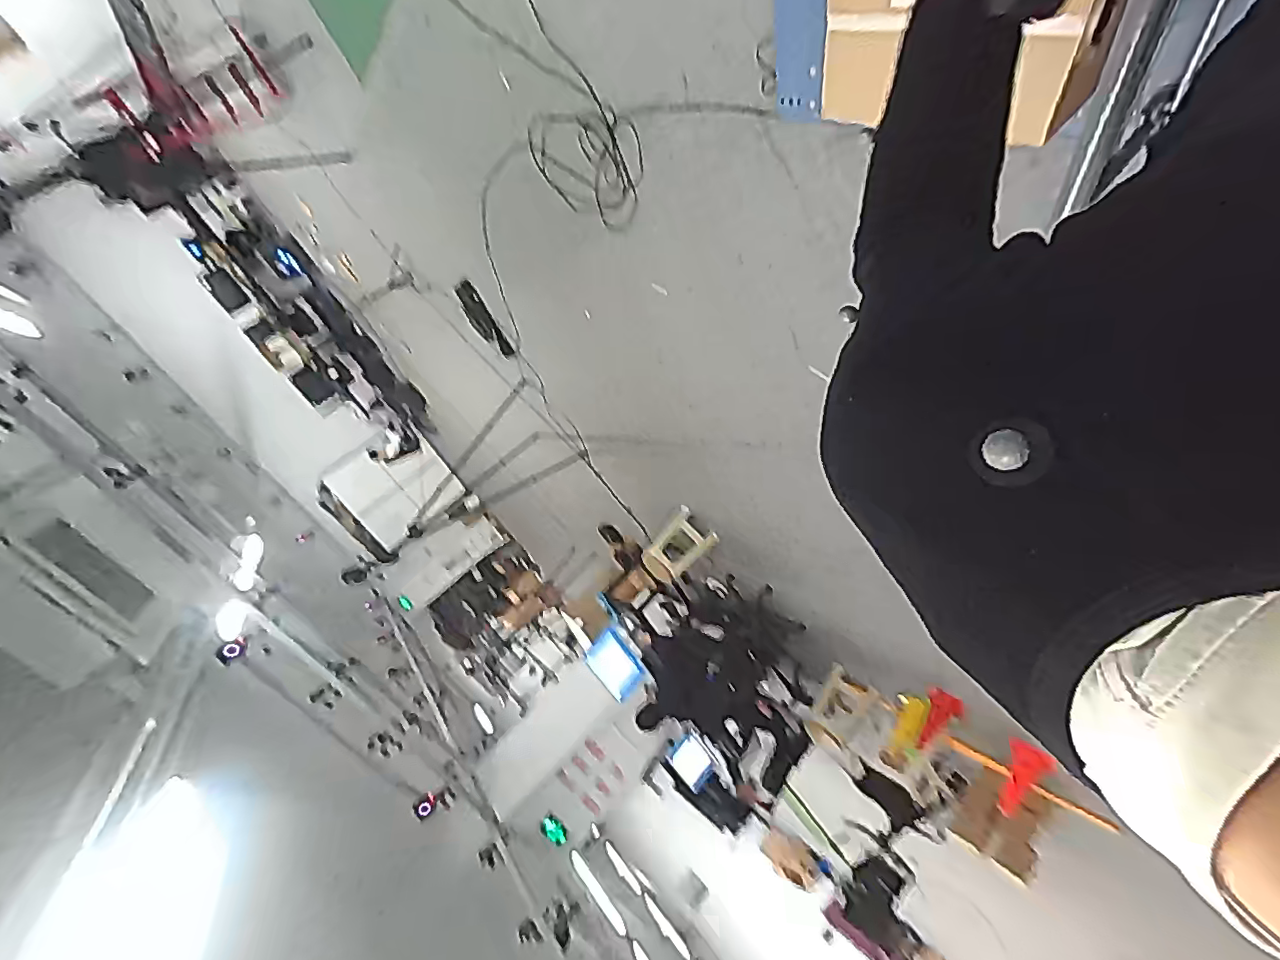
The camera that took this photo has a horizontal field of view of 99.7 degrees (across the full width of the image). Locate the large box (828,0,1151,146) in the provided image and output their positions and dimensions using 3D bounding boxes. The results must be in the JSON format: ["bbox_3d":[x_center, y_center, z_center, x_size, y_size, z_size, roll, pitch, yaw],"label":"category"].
[{"bbox_3d":[0.583,-0.806,0.896,0.408,0.320,0.320,33,155,32],"label":"large box"}]
